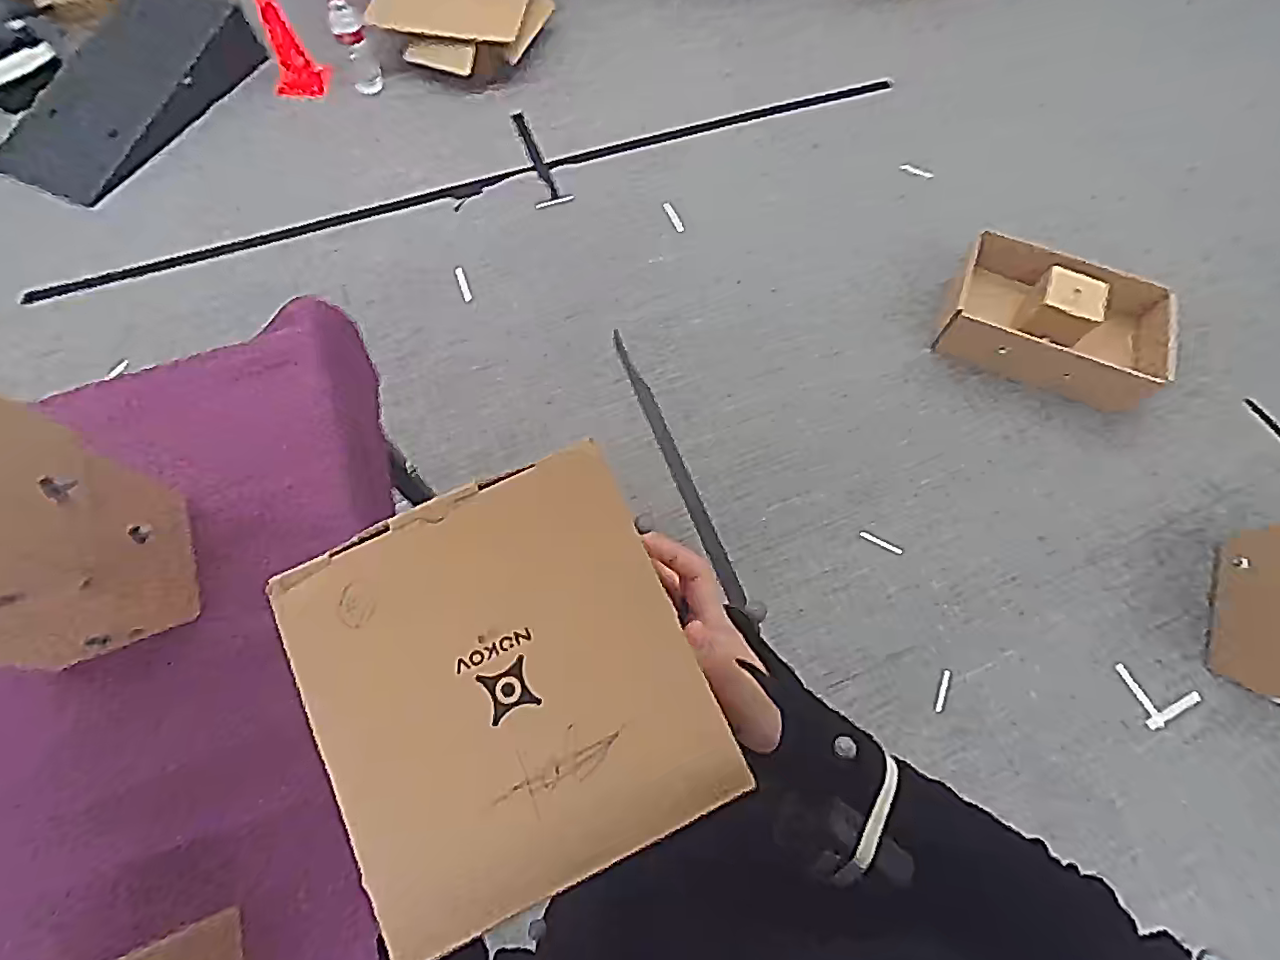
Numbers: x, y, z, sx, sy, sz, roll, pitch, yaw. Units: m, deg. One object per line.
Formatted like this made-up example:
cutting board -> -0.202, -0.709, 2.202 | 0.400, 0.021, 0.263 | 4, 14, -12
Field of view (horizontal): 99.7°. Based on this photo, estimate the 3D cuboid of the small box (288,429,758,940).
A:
small box -> -0.058, 0.098, 0.323 | 0.168, 0.176, 0.179 | -24, 81, -6

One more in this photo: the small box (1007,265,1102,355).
small box -> 1.304, -0.534, 1.710 | 0.168, 0.176, 0.179 | 25, 68, 10

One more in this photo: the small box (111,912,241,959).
small box -> -0.460, 0.505, 0.443 | 0.179, 0.176, 0.168 | -20, 68, -10
